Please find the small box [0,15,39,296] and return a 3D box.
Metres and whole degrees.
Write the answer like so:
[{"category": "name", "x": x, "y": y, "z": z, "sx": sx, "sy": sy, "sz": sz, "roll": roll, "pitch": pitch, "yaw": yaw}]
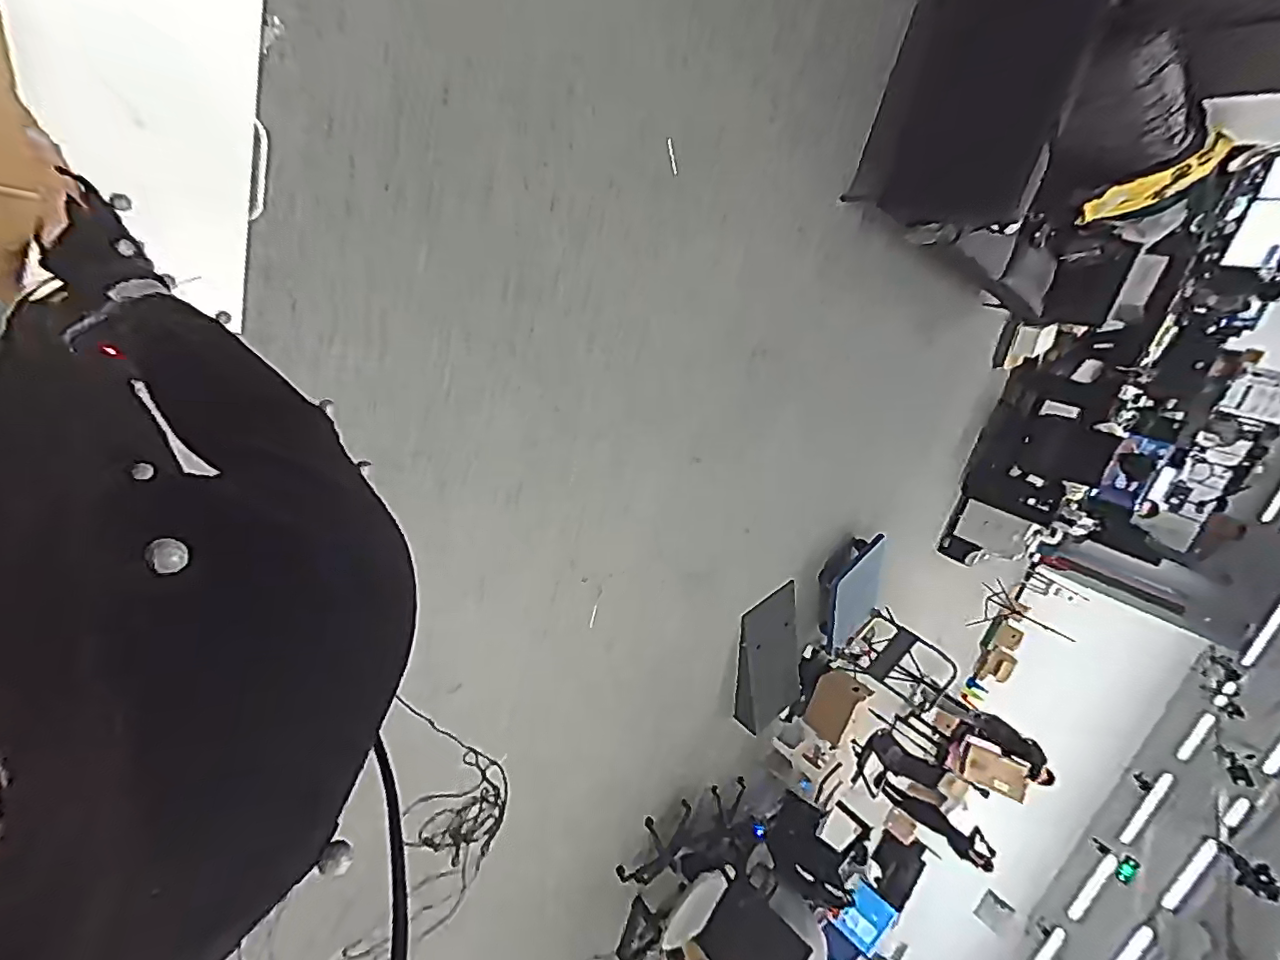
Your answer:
[{"category": "small box", "x": -0.561, "y": -0.256, "z": 0.372, "sx": 0.168, "sy": 0.176, "sz": 0.179, "roll": -12, "pitch": 82, "yaw": -54}]
